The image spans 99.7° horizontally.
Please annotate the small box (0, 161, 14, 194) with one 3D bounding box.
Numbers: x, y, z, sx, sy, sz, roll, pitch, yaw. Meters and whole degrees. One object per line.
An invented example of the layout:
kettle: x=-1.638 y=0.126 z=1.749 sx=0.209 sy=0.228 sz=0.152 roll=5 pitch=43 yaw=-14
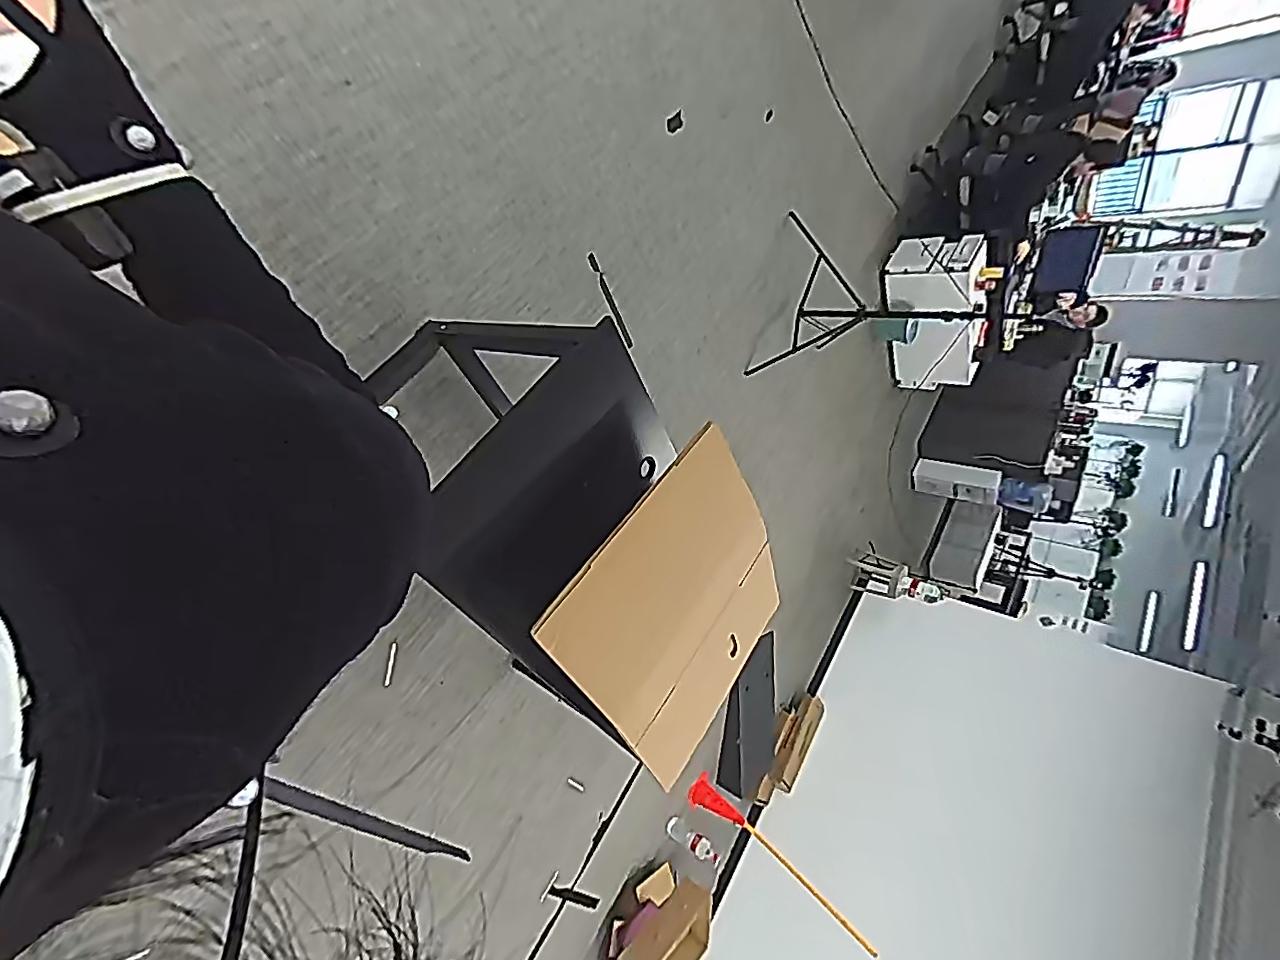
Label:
small box: x=-1.124 y=-0.482 z=0.815 sx=0.179 sy=0.176 sz=0.168 roll=-56 pitch=137 yaw=-21
